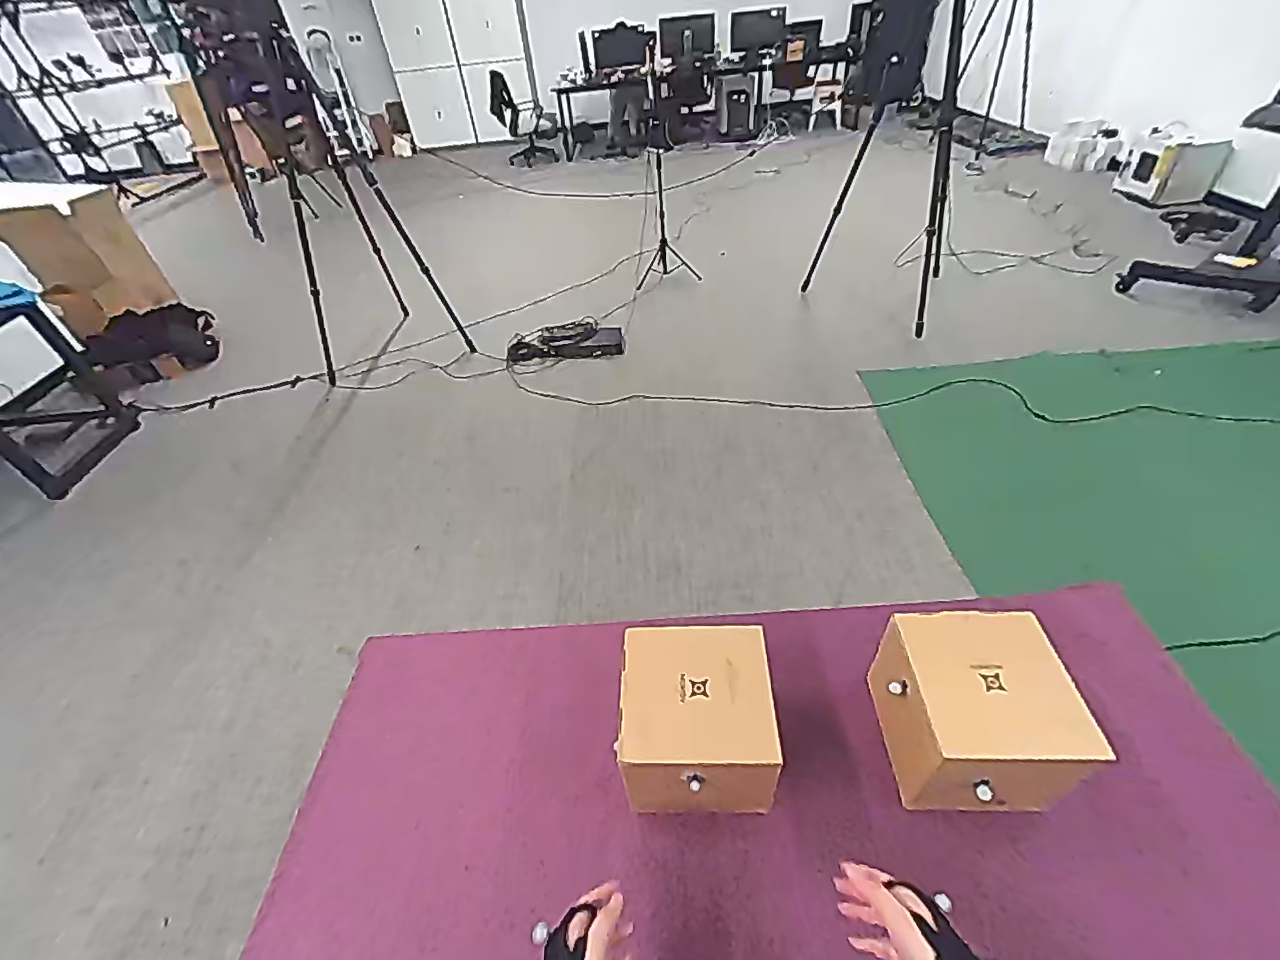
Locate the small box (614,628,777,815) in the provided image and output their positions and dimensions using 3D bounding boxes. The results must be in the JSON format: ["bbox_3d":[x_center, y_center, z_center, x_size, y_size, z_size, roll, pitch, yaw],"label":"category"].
[{"bbox_3d":[0.070,0.304,0.679,0.179,0.176,0.168,-2,43,5],"label":"small box"}]

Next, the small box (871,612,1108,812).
[{"bbox_3d":[0.396,0.282,0.654,0.168,0.176,0.179,-3,41,6],"label":"small box"}]
